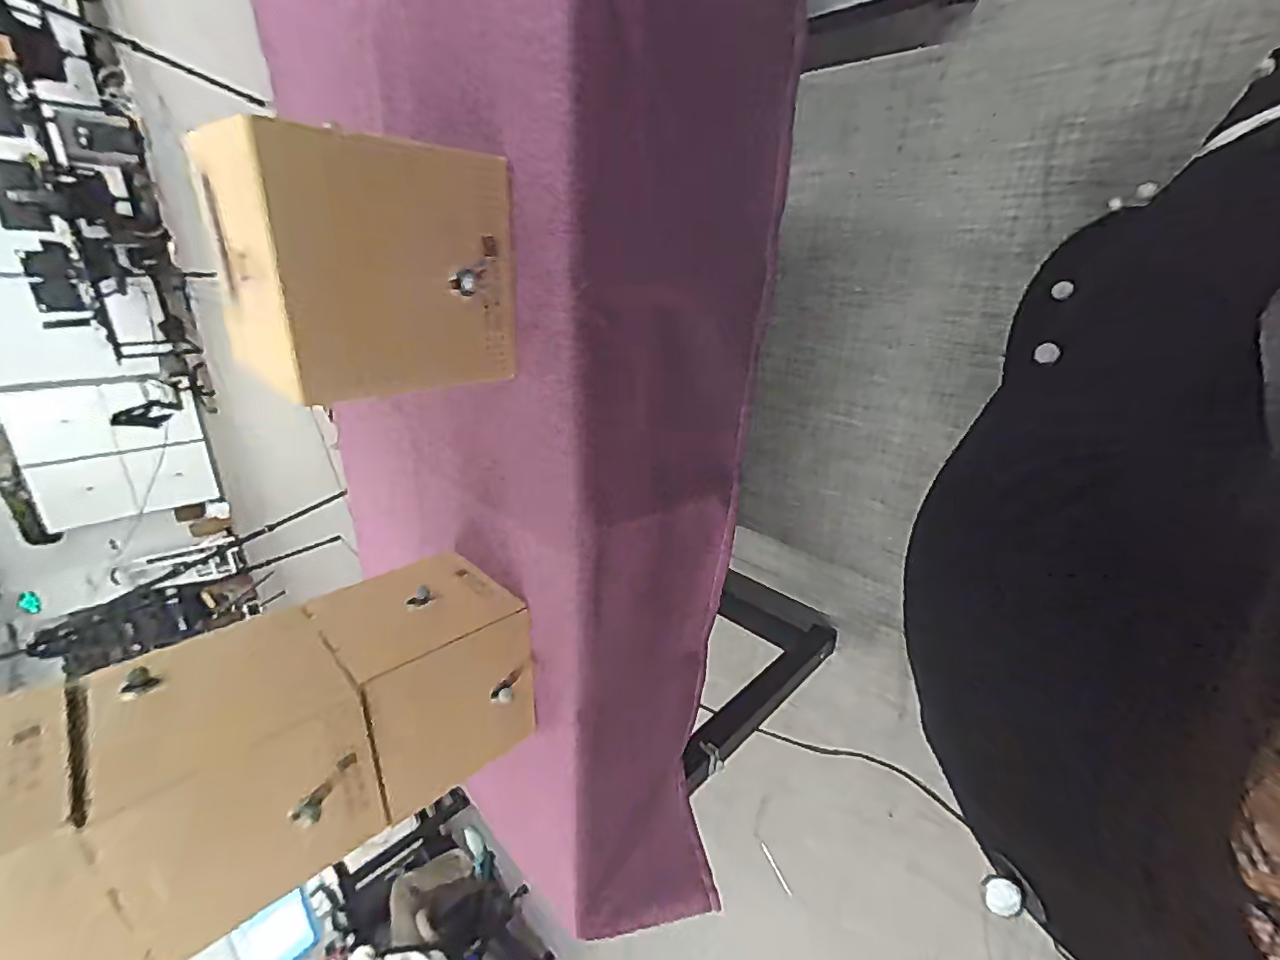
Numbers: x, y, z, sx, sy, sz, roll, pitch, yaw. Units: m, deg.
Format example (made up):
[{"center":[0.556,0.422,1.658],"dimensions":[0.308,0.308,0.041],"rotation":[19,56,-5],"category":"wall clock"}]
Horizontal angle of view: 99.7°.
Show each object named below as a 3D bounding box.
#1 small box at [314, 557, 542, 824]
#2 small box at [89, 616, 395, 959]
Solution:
[{"center":[-0.221,0.206,0.585],"dimensions":[0.168,0.176,0.179],"rotation":[21,118,41],"category":"small box"},{"center":[-0.340,0.245,0.477],"dimensions":[0.179,0.176,0.168],"rotation":[22,120,39],"category":"small box"}]
